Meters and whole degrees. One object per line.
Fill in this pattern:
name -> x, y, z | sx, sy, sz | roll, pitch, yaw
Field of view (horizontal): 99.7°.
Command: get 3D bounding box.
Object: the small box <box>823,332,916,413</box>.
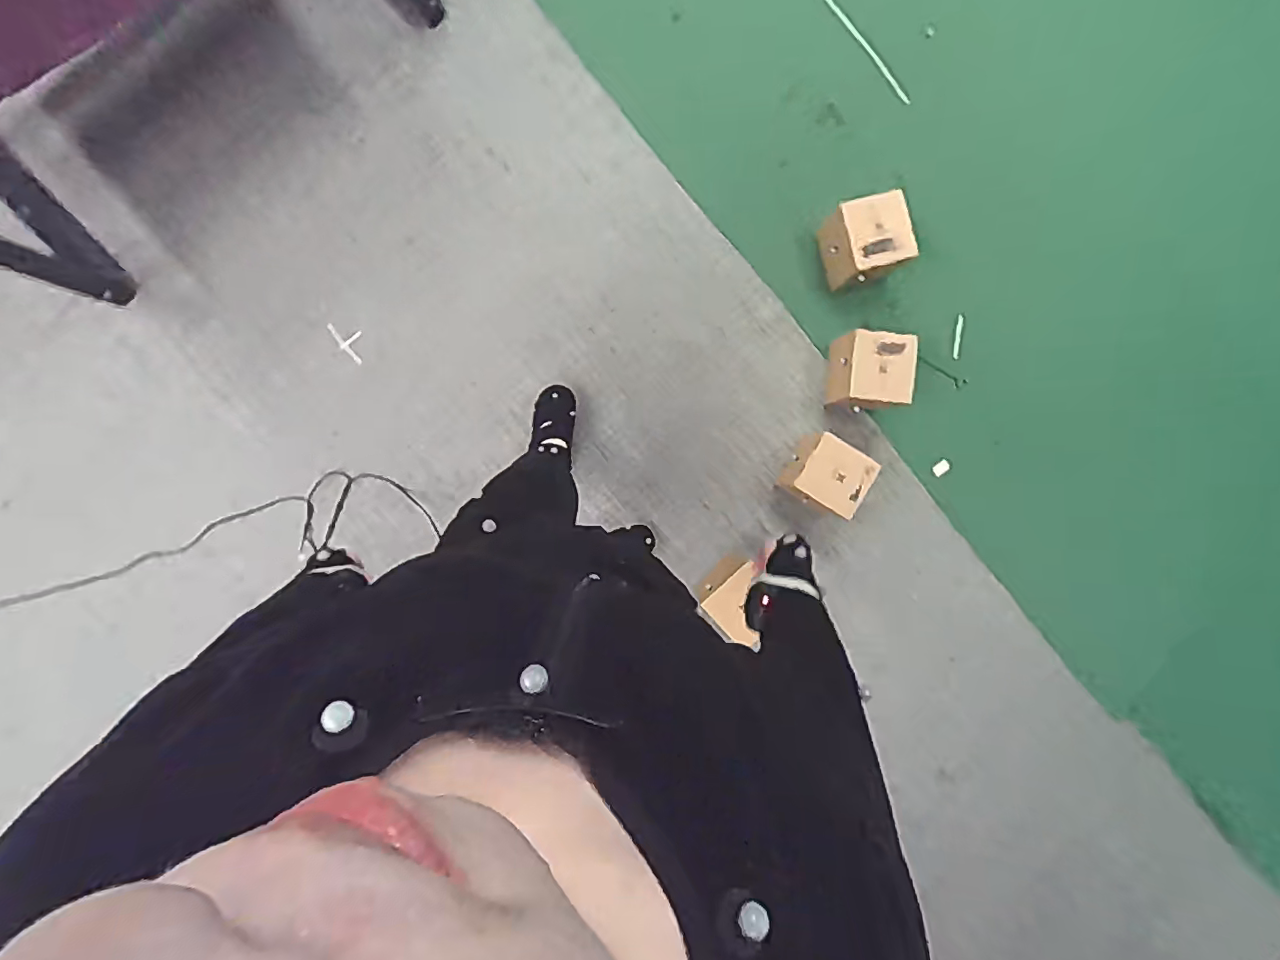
small box -> 0.607, -0.281, 1.449 | 0.168, 0.176, 0.179 | 6, 91, -3

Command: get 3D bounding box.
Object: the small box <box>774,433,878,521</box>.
small box -> 0.488, -0.007, 1.448 | 0.179, 0.176, 0.168 | 33, 89, -3

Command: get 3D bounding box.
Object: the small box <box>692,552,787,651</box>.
small box -> 0.254, 0.316, 1.440 | 0.179, 0.176, 0.168 | -41, 93, -1
